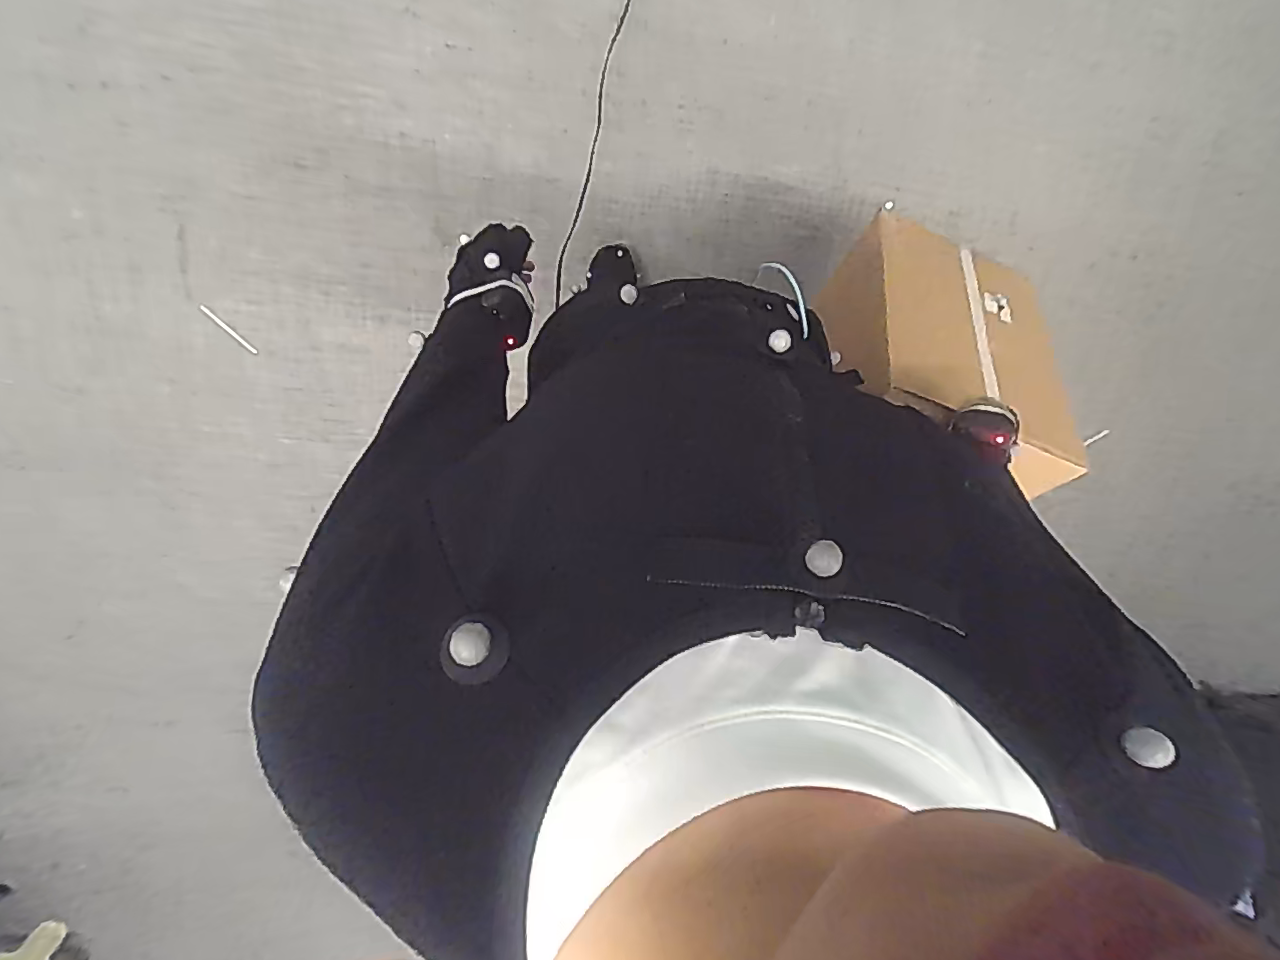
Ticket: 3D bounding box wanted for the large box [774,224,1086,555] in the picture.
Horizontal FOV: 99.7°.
[{"bbox_3d":[0.447,-0.140,0.926,0.320,0.408,0.320,20,146,-9],"label":"large box"}]
